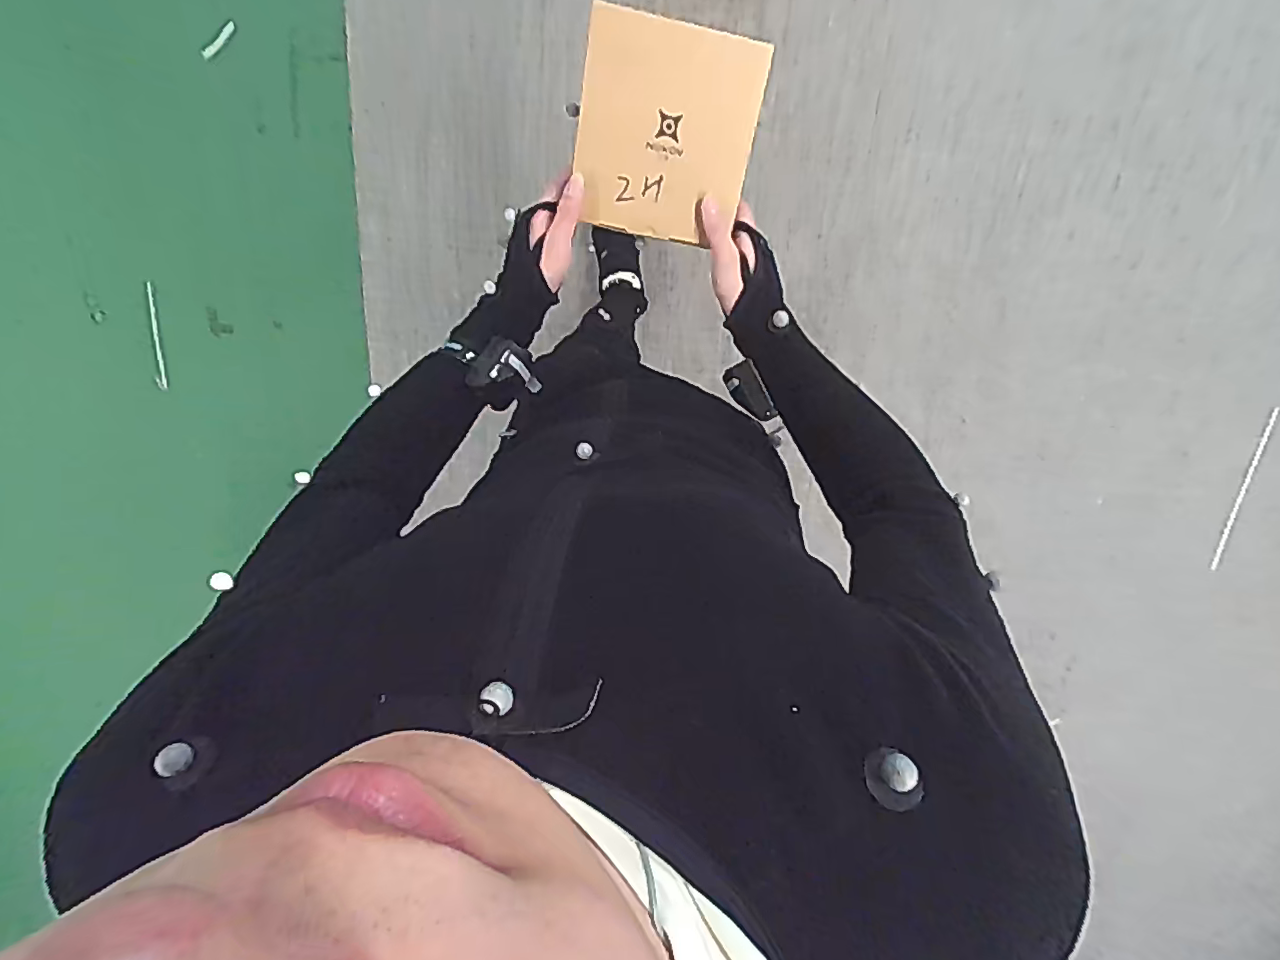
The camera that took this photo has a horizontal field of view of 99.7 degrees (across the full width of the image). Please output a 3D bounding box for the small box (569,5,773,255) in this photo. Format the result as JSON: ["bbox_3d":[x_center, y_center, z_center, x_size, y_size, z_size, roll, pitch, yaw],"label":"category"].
[{"bbox_3d":[0.021,-0.351,0.581,0.168,0.176,0.179,9,113,-6],"label":"small box"}]
